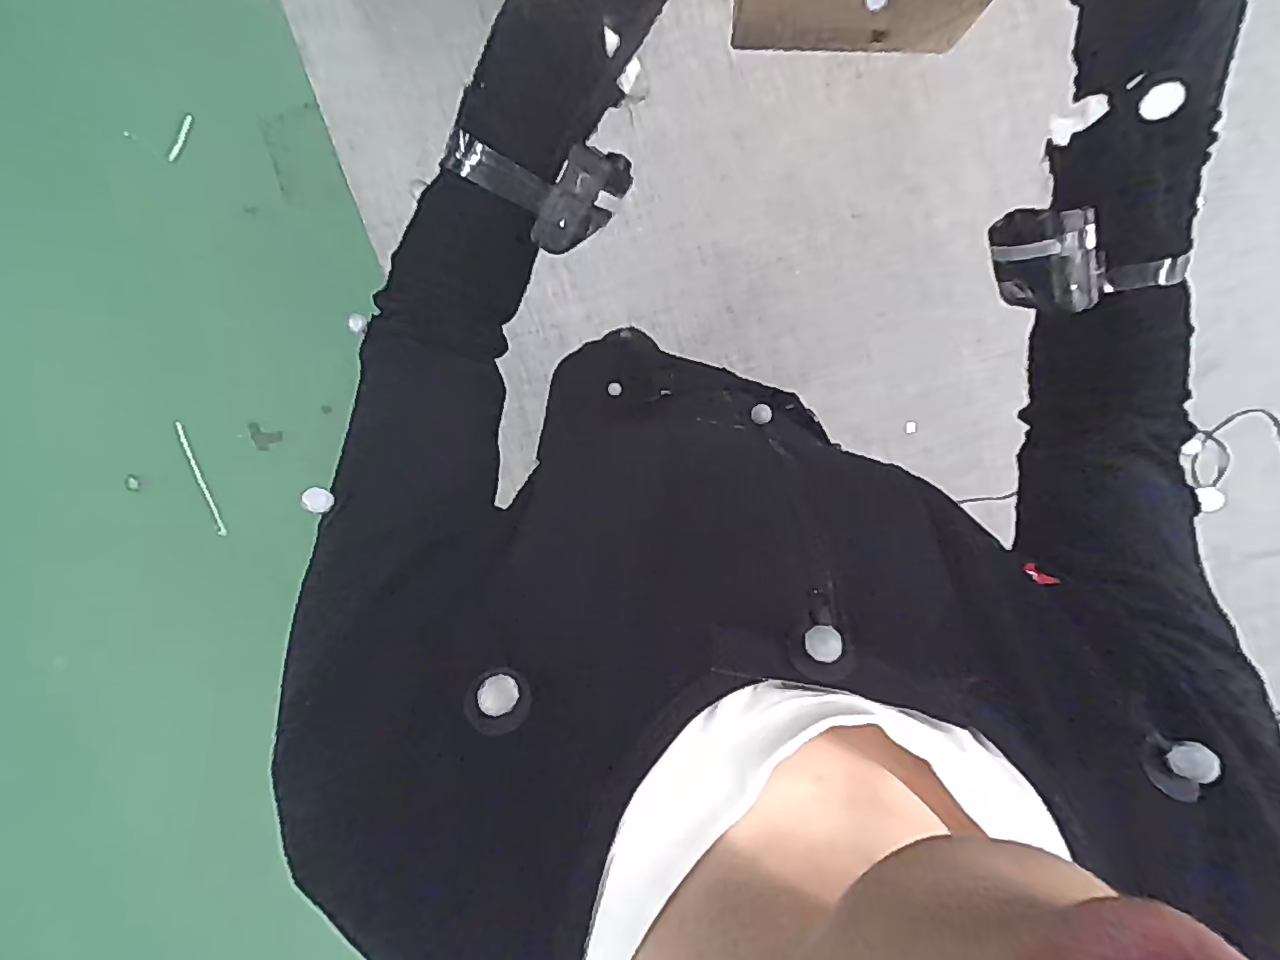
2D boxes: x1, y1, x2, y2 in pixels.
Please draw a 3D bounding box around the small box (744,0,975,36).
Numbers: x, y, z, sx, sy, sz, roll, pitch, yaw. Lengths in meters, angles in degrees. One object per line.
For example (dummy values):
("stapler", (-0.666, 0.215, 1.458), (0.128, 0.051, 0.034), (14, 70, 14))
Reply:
("small box", (0.153, -0.400, 0.312), (0.168, 0.176, 0.179), (2, 101, 1))
